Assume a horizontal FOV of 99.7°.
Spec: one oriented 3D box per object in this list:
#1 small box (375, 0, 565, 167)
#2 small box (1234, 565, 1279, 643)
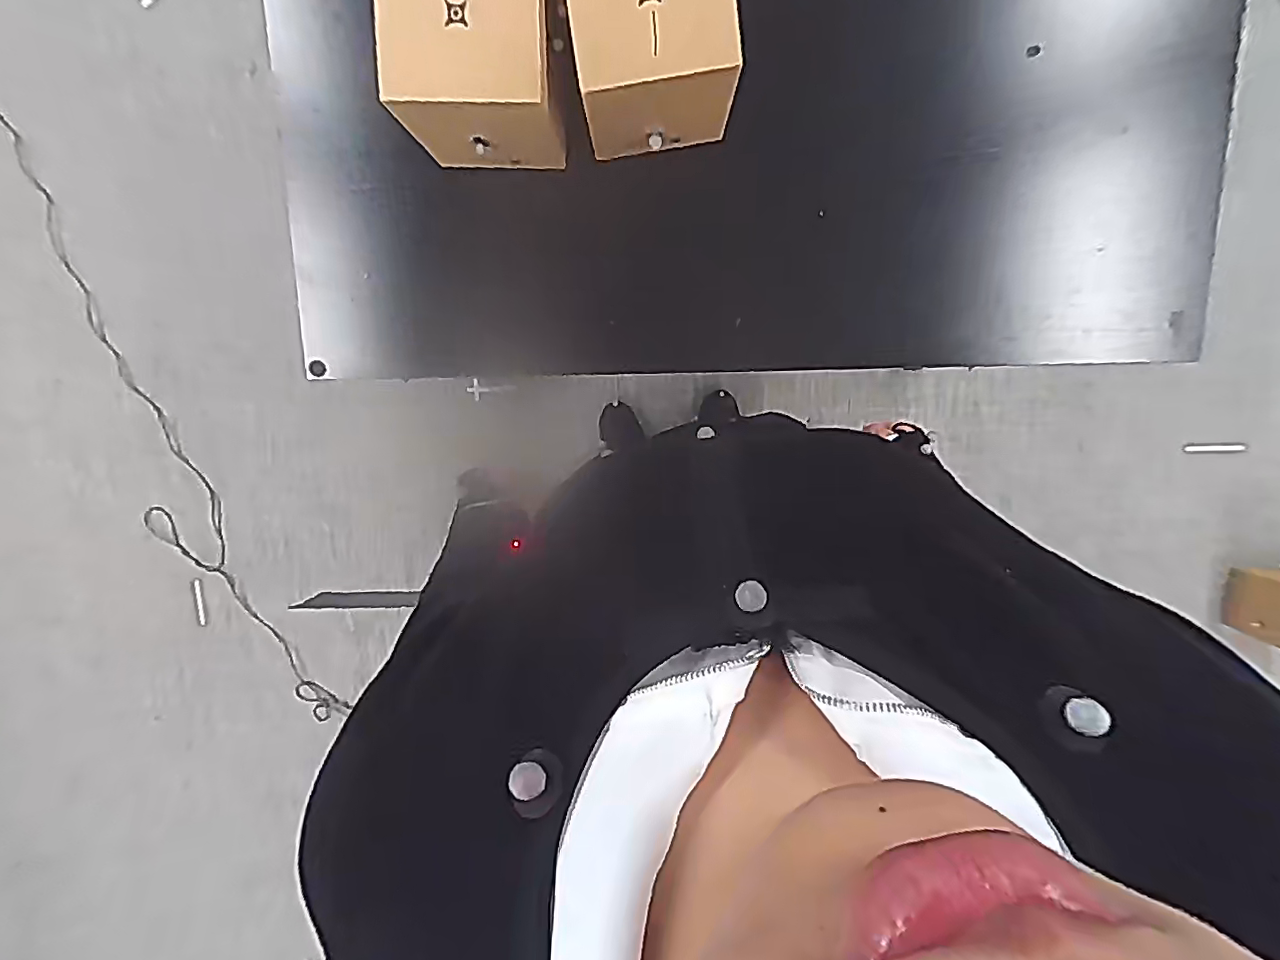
[{"bbox_3d":[-0.178,-0.478,0.613,0.168,0.176,0.179,1,99,1],"label":"small box"},{"bbox_3d":[1.730,0.332,1.415,0.168,0.176,0.179,-2,98,2],"label":"small box"}]
